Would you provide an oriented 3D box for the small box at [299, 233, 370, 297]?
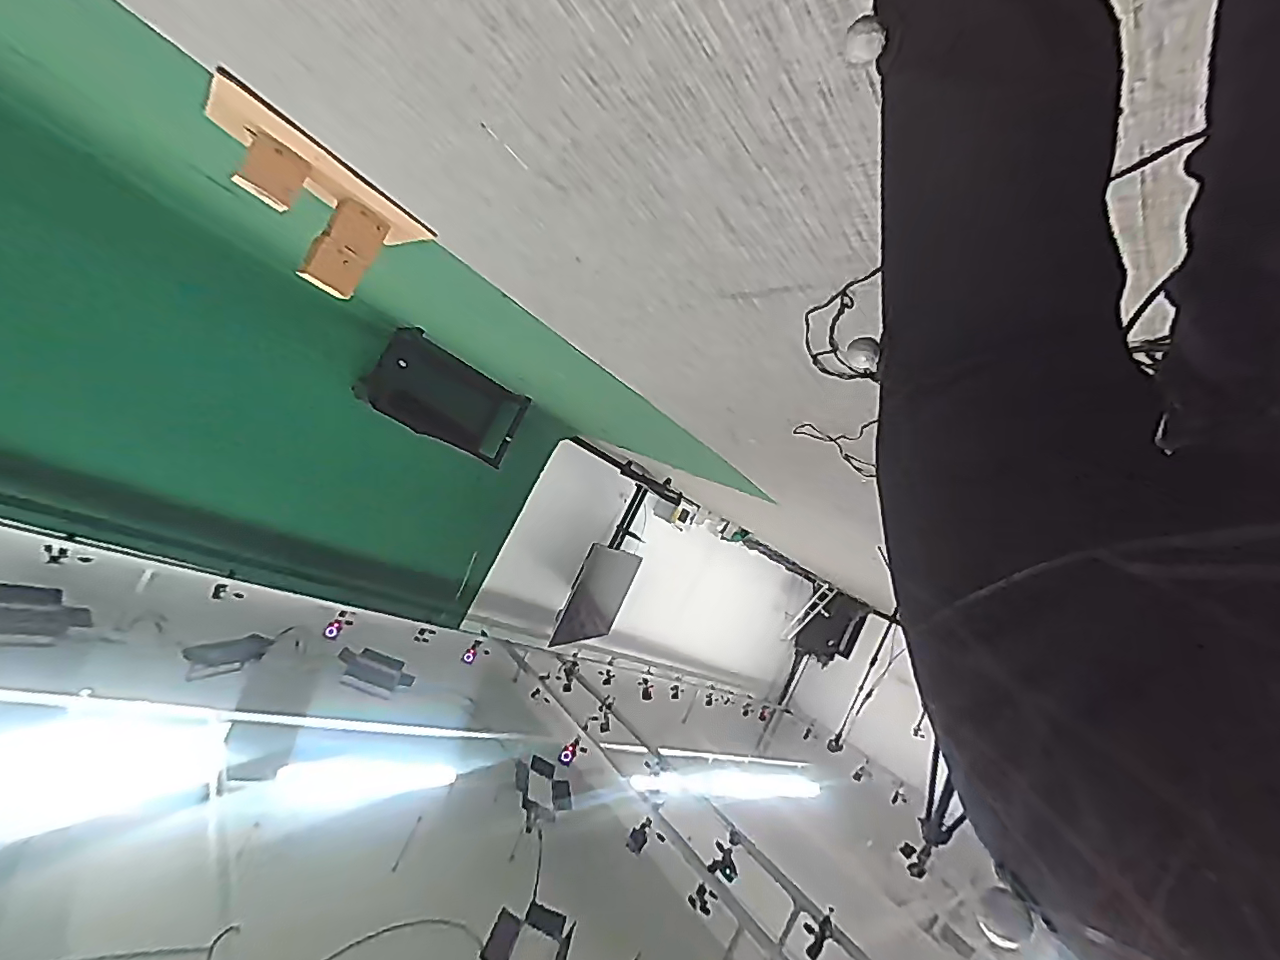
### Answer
[{"bbox_3d":[-1.192,-0.844,2.114,0.179,0.176,0.168,23,174,44],"label":"small box"}]

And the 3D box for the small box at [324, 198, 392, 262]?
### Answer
[{"bbox_3d":[-1.105,-0.982,2.120,0.179,0.176,0.168,25,176,45],"label":"small box"}]
